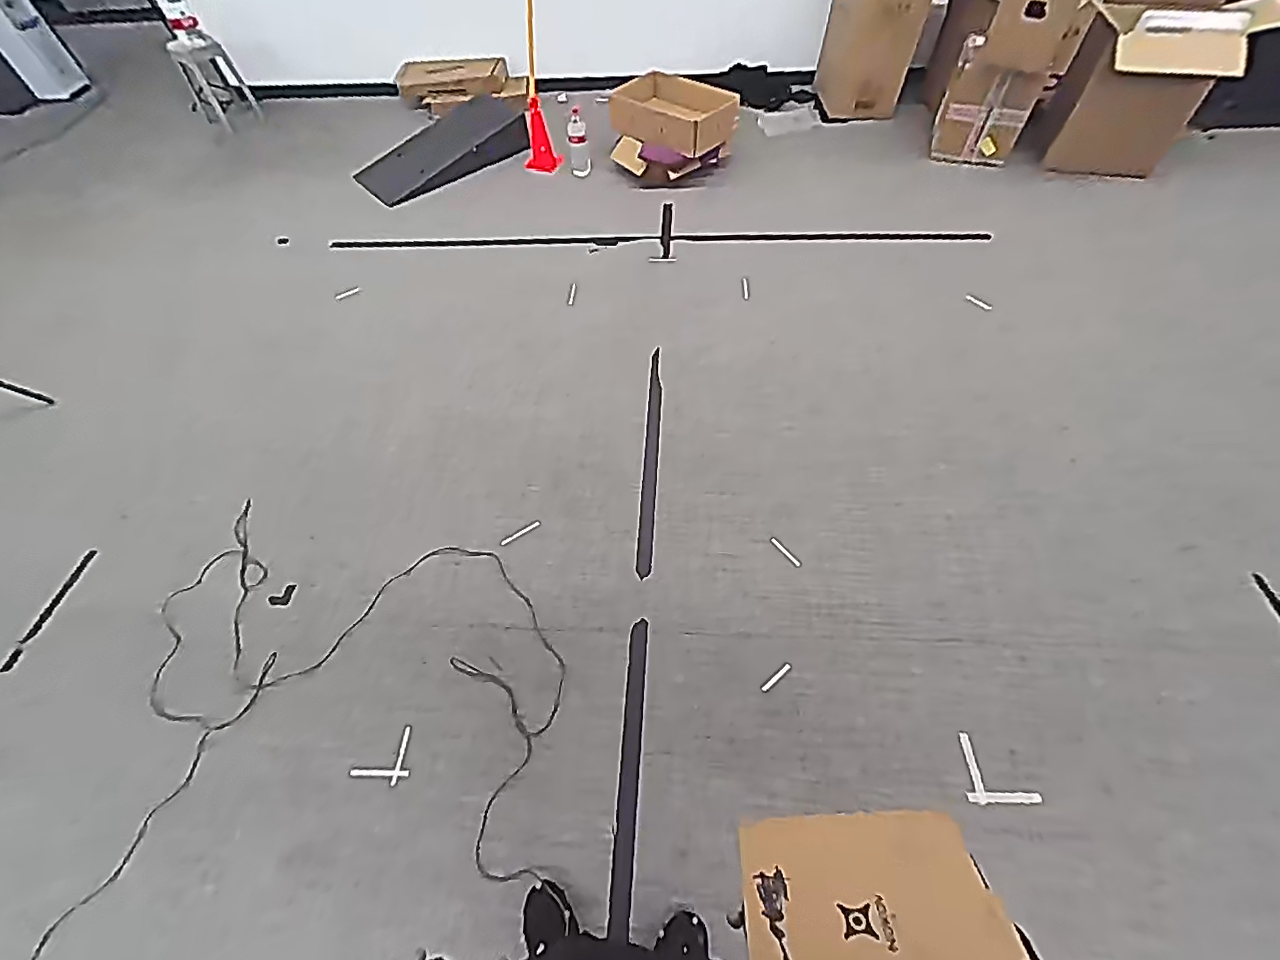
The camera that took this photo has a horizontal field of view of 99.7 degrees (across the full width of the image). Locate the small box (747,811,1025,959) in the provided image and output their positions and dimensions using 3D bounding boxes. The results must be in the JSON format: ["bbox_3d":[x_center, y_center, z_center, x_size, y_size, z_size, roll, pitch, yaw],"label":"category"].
[{"bbox_3d":[0.182,0.390,0.414,0.179,0.176,0.168,-8,18,9],"label":"small box"}]
